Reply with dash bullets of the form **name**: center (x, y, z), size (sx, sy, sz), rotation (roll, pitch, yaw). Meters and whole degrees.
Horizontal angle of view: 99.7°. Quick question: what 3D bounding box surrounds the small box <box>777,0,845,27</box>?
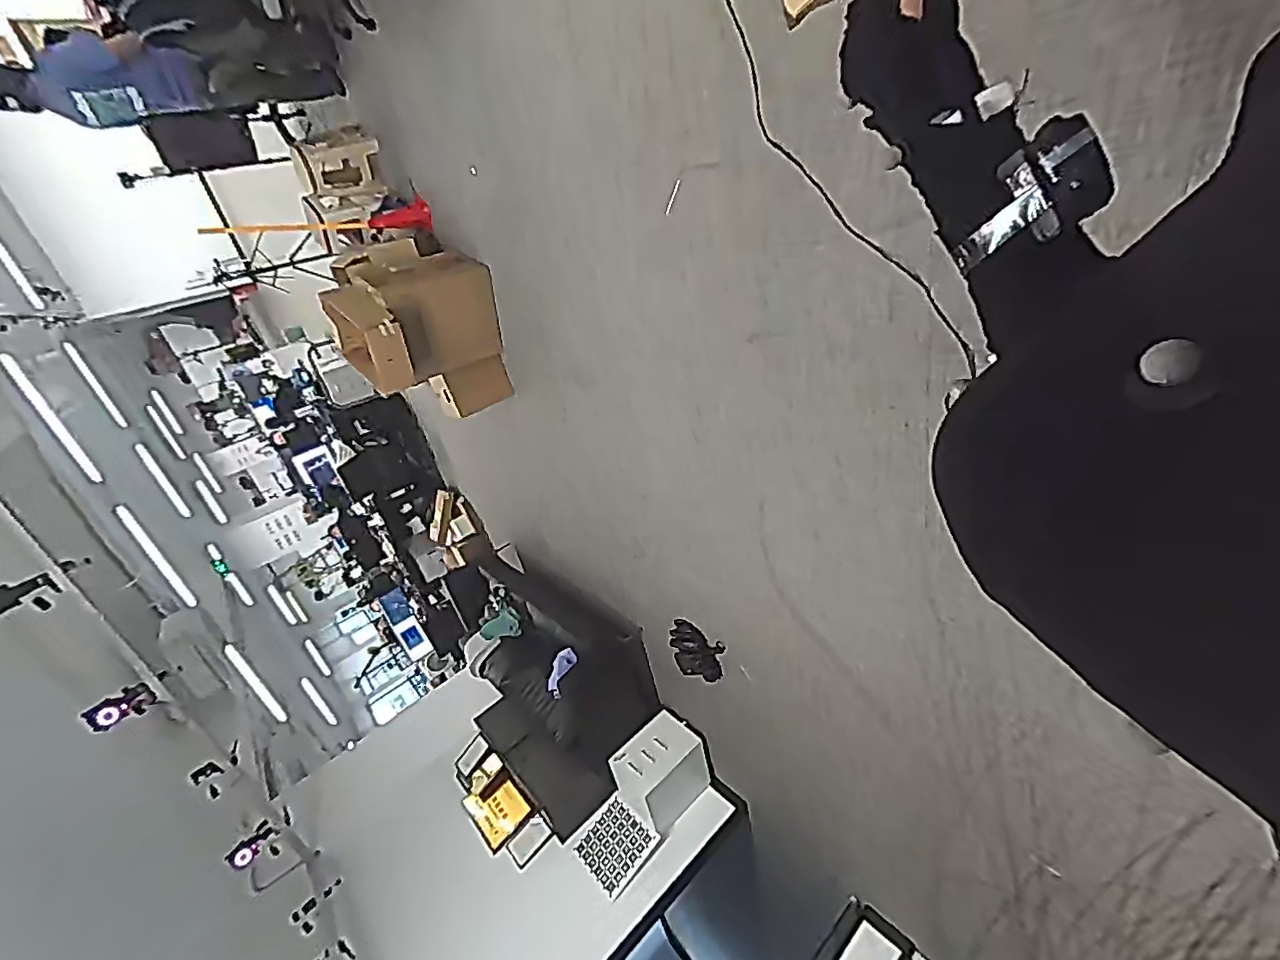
- **small box**: center (0.178, -0.476, 0.368), size (0.179, 0.176, 0.168), rotation (60, 158, -18)
